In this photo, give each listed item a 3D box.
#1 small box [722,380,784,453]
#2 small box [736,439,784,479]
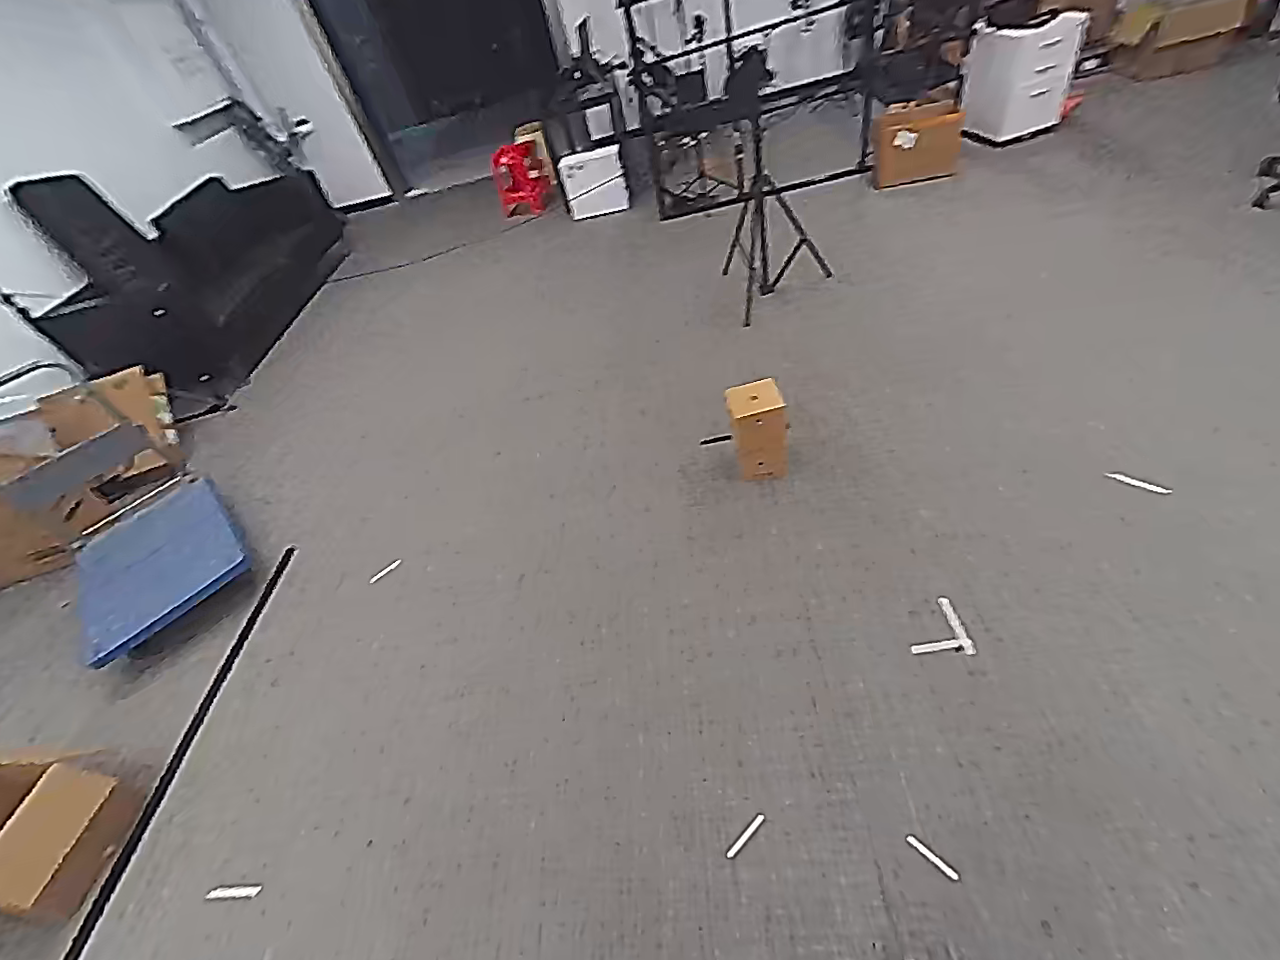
[{"bbox_3d":[0.401,-0.222,1.908,0.179,0.176,0.168,-15,45,4],"label":"small box"},{"bbox_3d":[0.442,-0.119,2.028,0.168,0.176,0.179,-8,45,10],"label":"small box"}]
